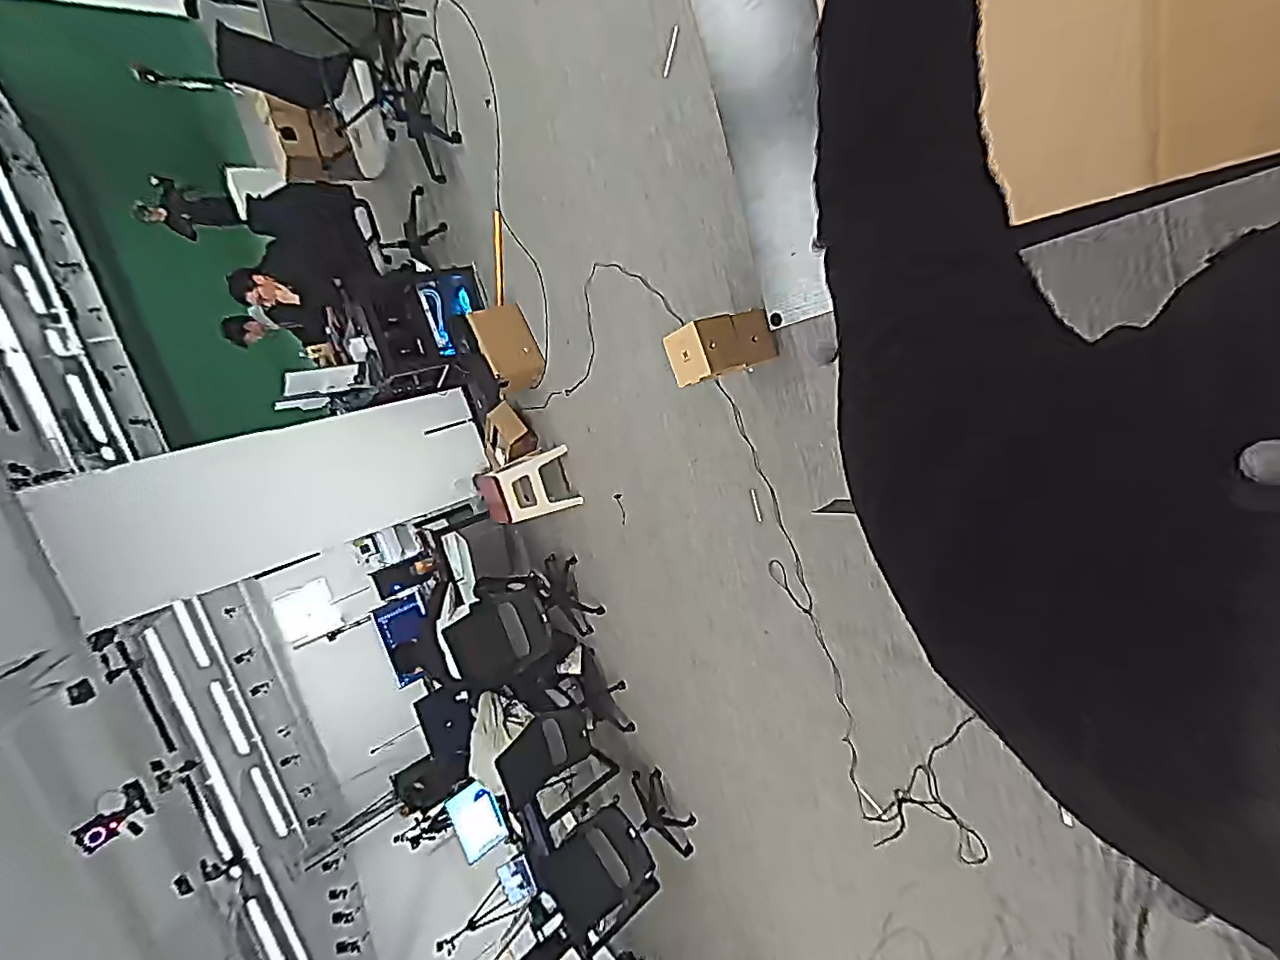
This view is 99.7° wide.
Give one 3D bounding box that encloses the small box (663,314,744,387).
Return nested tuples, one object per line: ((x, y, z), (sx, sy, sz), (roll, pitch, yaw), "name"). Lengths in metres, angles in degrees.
((0.211, -0.424, 1.764), (0.168, 0.176, 0.179), (-15, 95, 56), "small box")

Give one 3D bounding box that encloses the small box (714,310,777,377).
((0.339, -0.470, 1.853), (0.168, 0.176, 0.179), (-9, 102, 56), "small box")
